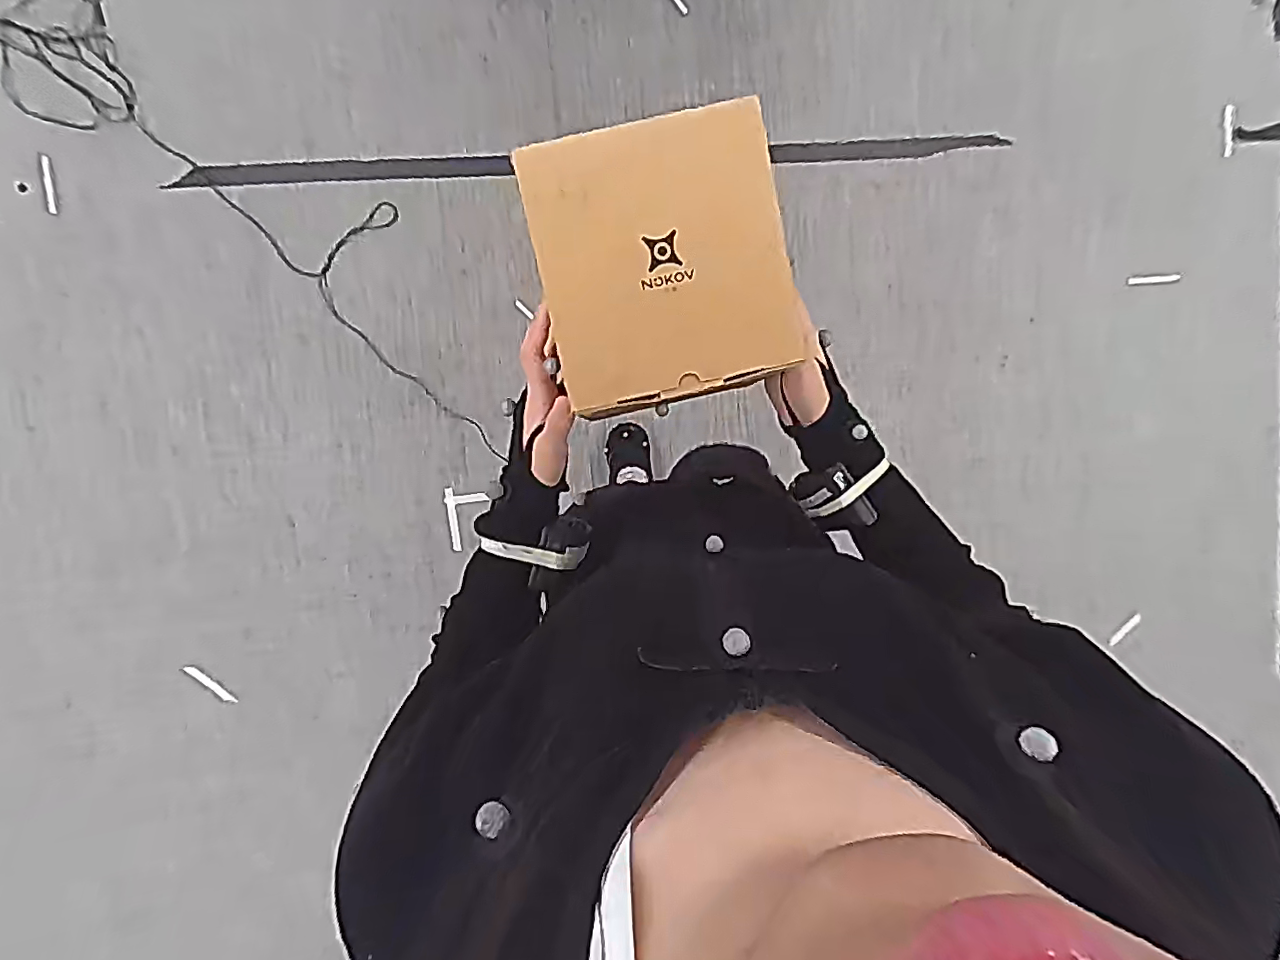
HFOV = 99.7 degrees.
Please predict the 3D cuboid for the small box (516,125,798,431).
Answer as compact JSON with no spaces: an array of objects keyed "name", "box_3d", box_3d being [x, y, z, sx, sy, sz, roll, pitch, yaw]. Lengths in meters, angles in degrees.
[{"name":"small box","box_3d":[0.009,-0.144,0.450,0.168,0.176,0.179,-14,94,-1]}]
